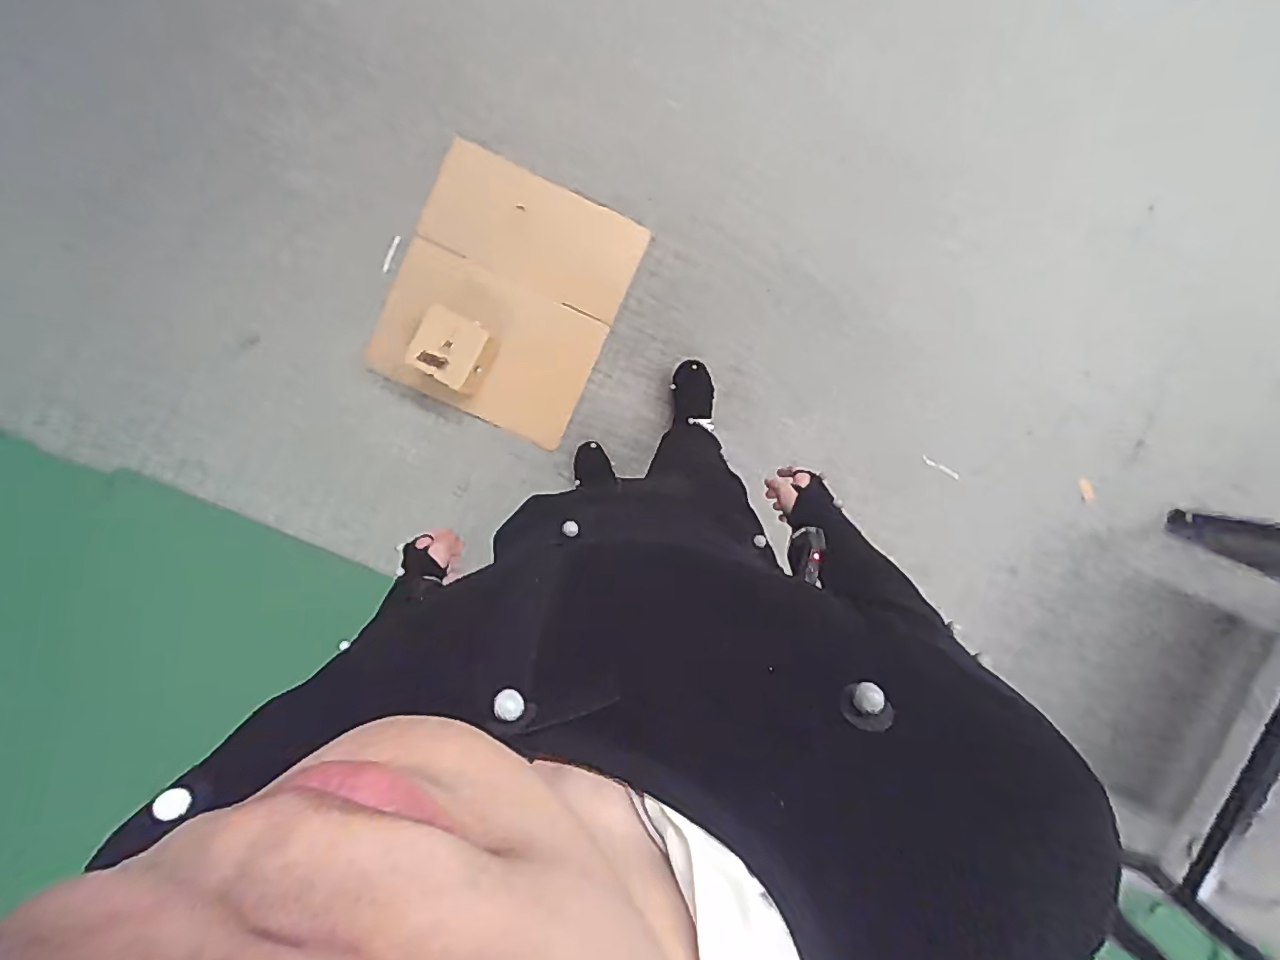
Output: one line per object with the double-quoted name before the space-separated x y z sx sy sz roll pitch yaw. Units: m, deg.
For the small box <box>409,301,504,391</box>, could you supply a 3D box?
"small box" -0.494 -0.358 1.484 0.168 0.176 0.179 29 94 -5
